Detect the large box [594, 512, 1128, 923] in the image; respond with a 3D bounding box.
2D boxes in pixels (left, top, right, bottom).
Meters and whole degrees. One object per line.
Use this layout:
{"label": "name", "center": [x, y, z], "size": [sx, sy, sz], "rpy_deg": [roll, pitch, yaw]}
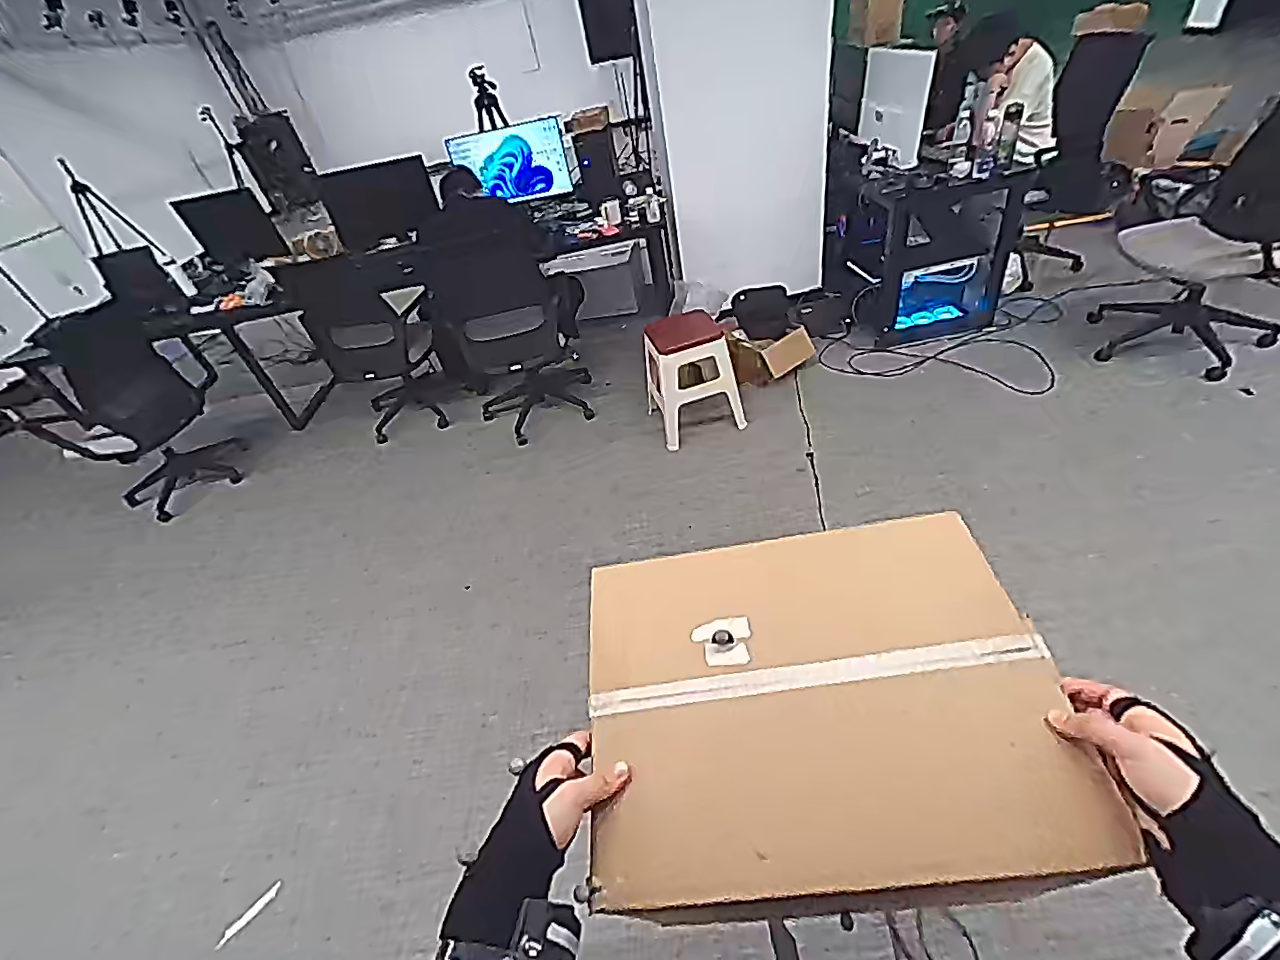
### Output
{"label": "large box", "center": [0.185, 0.283, 0.616], "size": [0.408, 0.320, 0.320], "rpy_deg": [-12, 46, 7]}
